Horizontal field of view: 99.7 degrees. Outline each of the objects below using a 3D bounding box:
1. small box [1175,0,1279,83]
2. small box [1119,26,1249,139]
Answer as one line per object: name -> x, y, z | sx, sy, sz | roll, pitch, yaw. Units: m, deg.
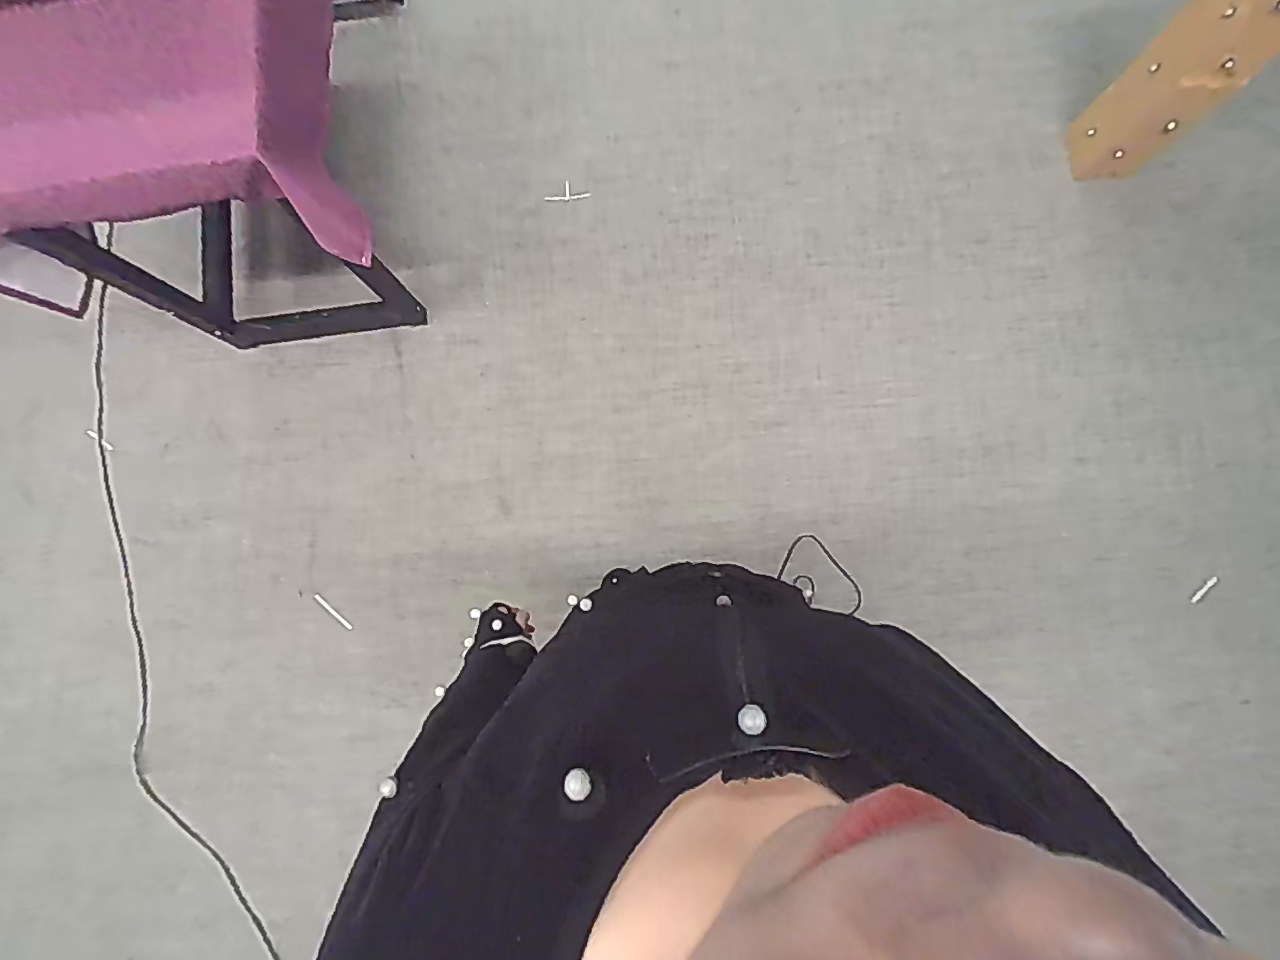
small box -> 1.393, -1.063, 1.244 | 0.168, 0.176, 0.179 | 3, 83, 2
small box -> 1.398, -1.028, 1.404 | 0.168, 0.176, 0.179 | -1, 82, 2
